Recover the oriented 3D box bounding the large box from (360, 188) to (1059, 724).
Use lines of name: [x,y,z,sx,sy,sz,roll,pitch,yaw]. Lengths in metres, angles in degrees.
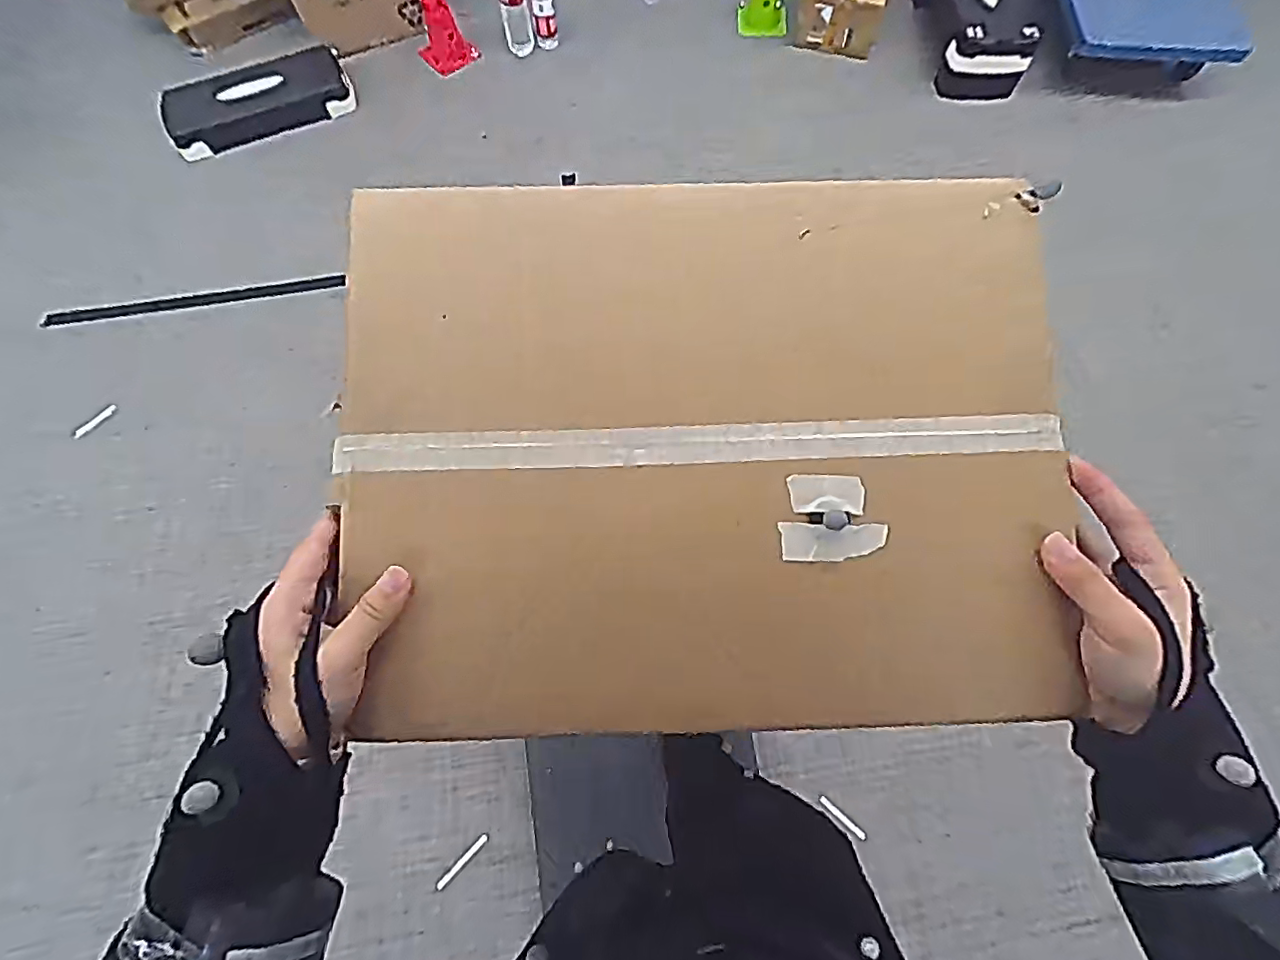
large box: [0.032,-0.008,0.468,0.408,0.320,0.320,-2,84,-1]
